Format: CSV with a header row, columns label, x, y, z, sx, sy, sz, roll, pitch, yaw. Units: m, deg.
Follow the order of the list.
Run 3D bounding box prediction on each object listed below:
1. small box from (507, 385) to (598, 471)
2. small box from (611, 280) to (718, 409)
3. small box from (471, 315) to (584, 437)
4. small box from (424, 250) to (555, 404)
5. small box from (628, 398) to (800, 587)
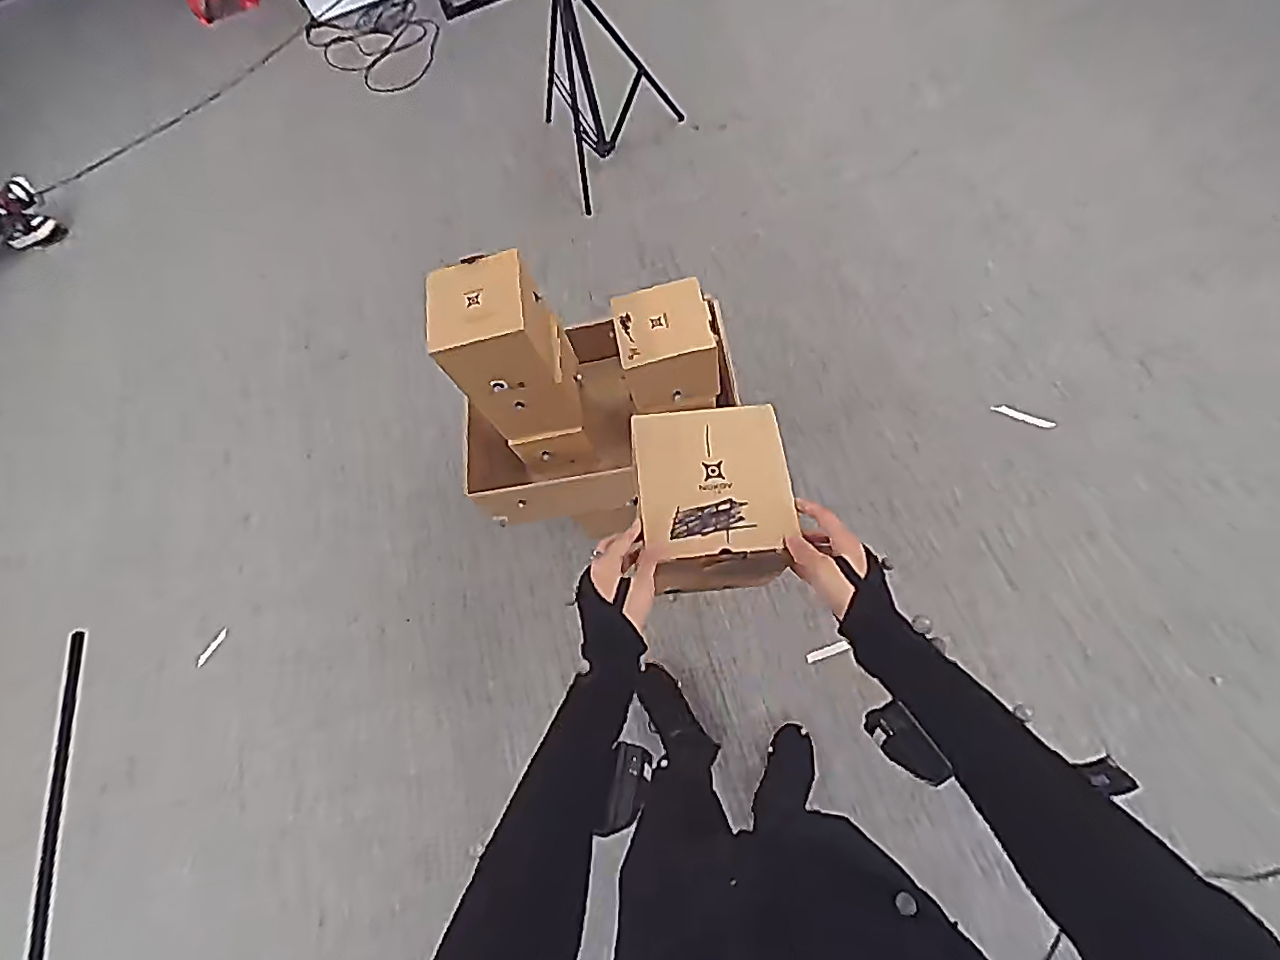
label,x,y,z,sx,sy,sz,roll,pitch,yaw
small box,-0.200,-0.133,1.244,0.168,0.176,0.179,-11,66,5
small box,0.052,-0.256,1.062,0.179,0.176,0.168,-12,67,5
small box,-0.224,-0.202,1.097,0.179,0.176,0.168,-10,67,6
small box,-0.257,-0.261,0.947,0.168,0.176,0.179,-13,66,6
small box,0.077,0.025,0.649,0.168,0.176,0.179,-5,66,-2
